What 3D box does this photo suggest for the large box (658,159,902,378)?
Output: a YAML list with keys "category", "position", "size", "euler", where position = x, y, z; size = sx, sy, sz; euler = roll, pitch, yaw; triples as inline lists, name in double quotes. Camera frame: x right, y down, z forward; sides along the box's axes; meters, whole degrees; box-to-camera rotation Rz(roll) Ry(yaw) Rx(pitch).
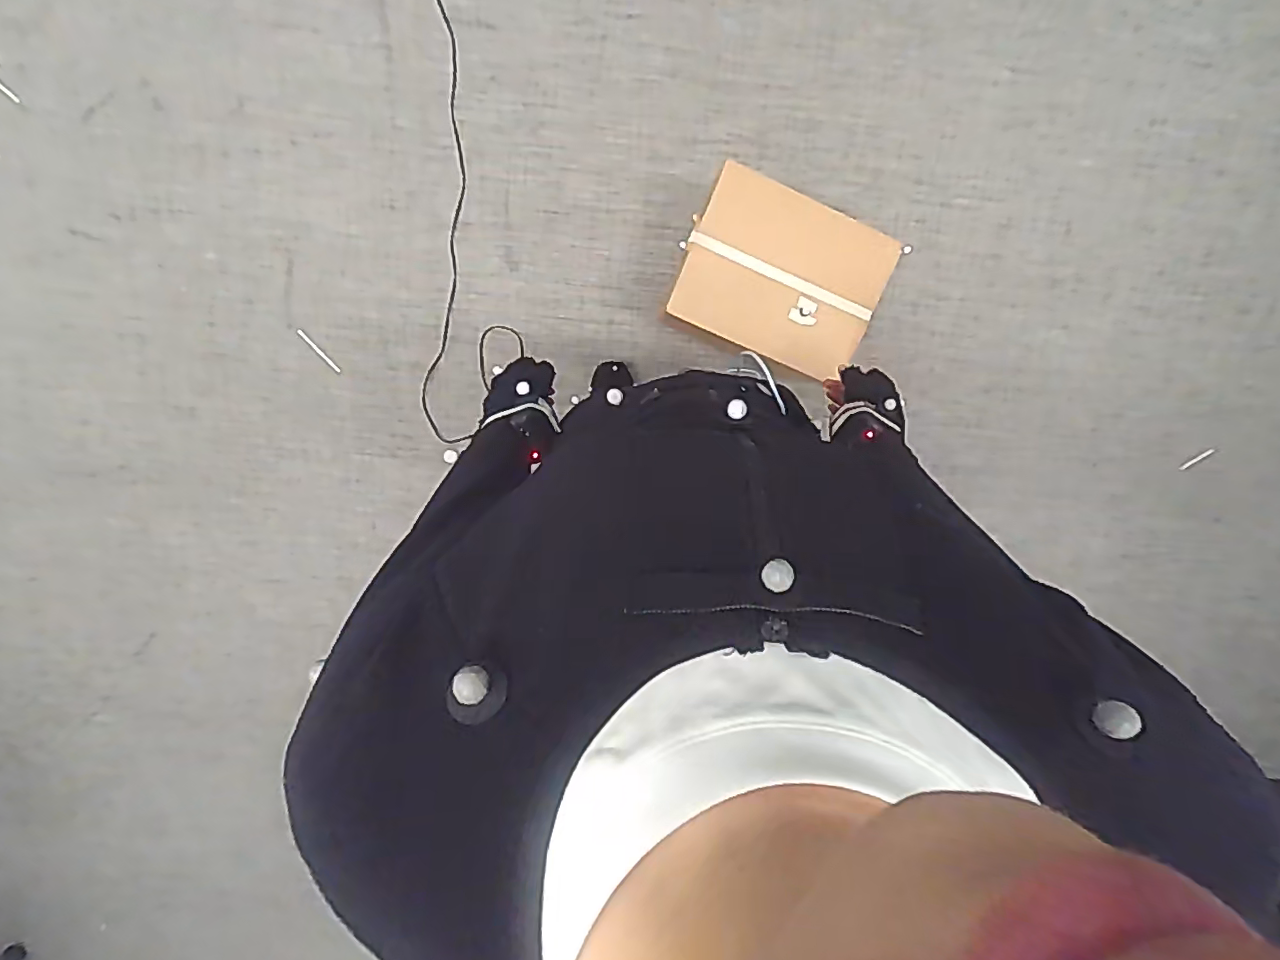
- category: "large box"
  position: [0.288, -0.456, 1.248]
  size: [0.408, 0.320, 0.320]
  euler: [21, 102, -7]
